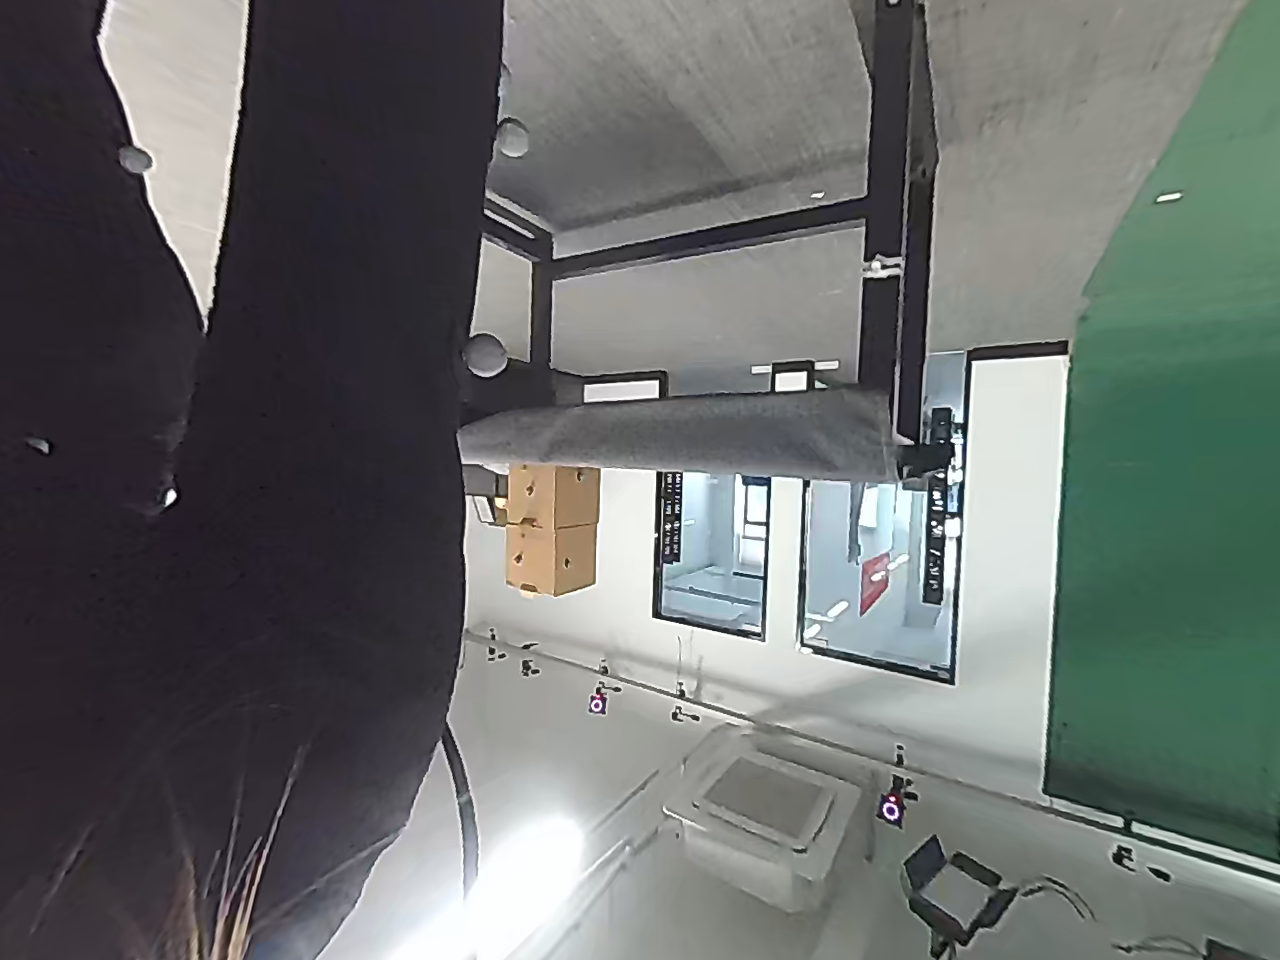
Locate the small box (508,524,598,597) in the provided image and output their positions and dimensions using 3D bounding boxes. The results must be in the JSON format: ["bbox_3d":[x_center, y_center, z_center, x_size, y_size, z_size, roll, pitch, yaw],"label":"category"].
[{"bbox_3d":[-0.225,0.191,1.400,0.168,0.176,0.179,4,-176,31],"label":"small box"}]

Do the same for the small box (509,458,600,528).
[{"bbox_3d":[-0.217,0.029,1.390,0.168,0.176,0.179,3,-177,34],"label":"small box"}]
